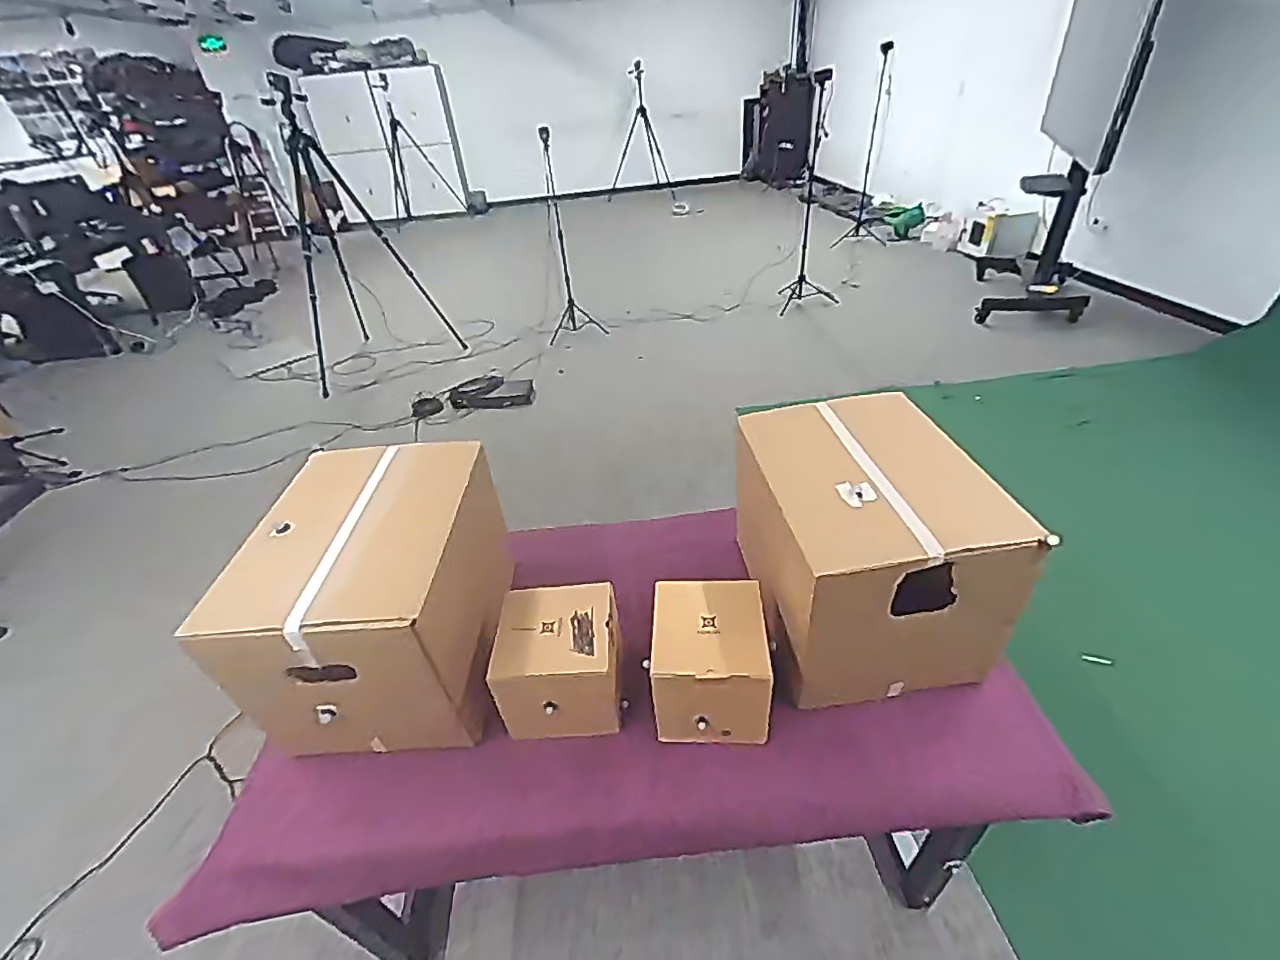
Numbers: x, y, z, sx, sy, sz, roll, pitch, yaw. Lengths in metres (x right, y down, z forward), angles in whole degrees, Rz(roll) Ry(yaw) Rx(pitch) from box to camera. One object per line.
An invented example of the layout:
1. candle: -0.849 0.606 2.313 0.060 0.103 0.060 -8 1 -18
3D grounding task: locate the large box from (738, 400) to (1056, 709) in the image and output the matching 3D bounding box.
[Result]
1. large box: 0.366 0.108 0.921 0.320 0.320 0.408 -9 37 -1
